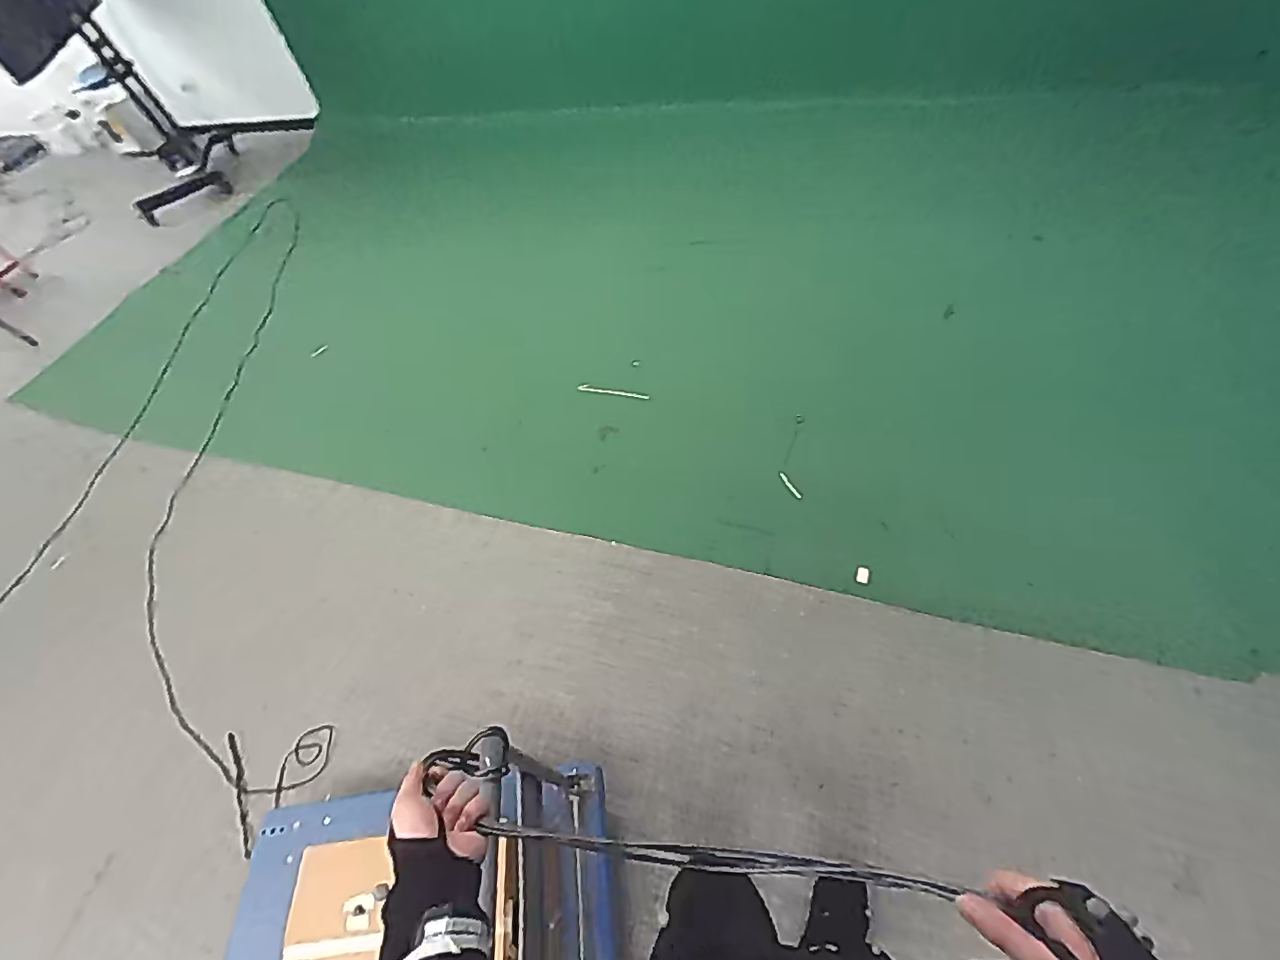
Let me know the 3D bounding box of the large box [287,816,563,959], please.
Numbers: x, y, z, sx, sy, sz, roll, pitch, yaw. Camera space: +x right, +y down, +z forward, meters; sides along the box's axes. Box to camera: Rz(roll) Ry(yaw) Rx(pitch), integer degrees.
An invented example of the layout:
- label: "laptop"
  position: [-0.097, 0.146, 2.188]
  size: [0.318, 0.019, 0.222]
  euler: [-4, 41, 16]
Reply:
- label: "large box"
  position: [-0.385, 0.859, 1.038]
  size: [0.408, 0.320, 0.320]
  euler: [-12, 54, 5]
